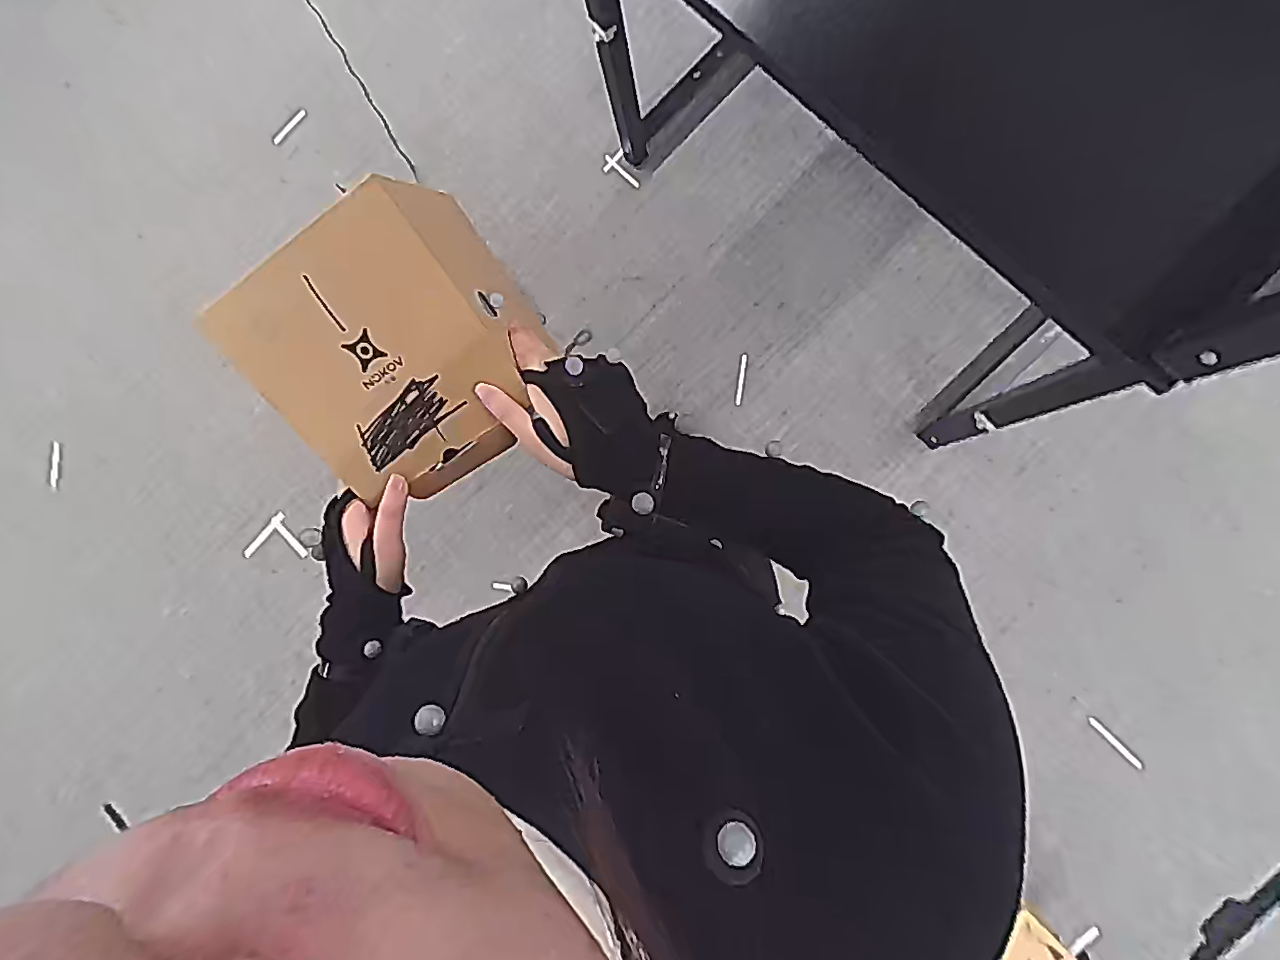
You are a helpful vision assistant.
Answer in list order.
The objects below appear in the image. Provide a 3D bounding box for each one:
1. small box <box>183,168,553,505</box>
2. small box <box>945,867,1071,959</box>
[{"bbox_3d":[-0.189,-0.117,0.441,0.168,0.176,0.179,-31,110,11],"label":"small box"},{"bbox_3d":[0.832,1.049,1.231,0.179,0.176,0.168,-45,82,4],"label":"small box"}]
